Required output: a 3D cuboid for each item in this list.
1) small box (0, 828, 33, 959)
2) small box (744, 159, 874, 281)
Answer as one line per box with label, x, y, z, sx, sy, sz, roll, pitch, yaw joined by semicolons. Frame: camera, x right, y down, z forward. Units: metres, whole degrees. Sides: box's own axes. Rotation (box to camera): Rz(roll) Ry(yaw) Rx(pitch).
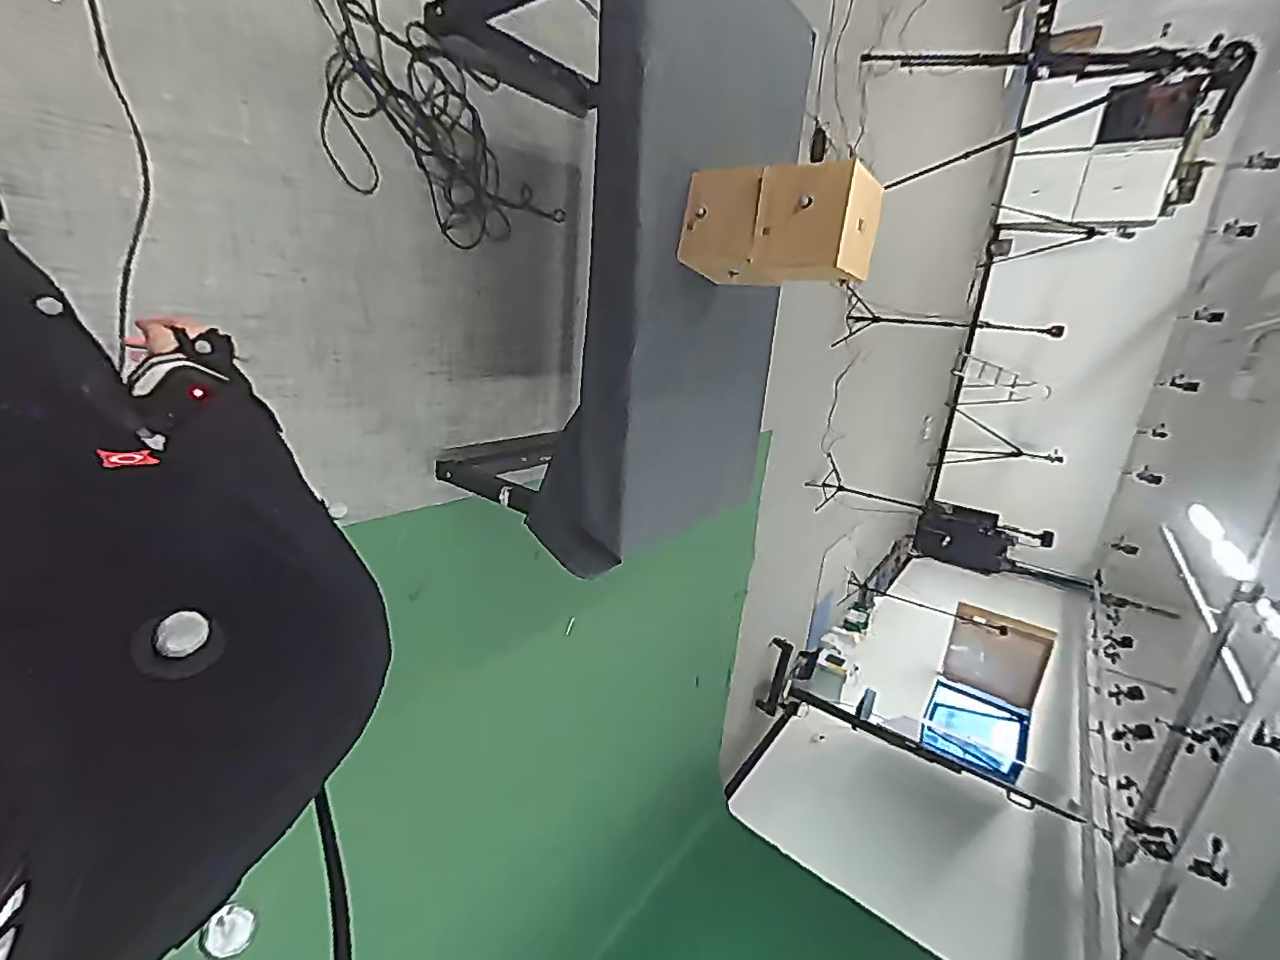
small box;-1.223;0.766;0.955;0.168;0.176;0.179;-18;118;-52
small box;0.309;-0.467;0.999;0.179;0.176;0.168;-14;115;-52
